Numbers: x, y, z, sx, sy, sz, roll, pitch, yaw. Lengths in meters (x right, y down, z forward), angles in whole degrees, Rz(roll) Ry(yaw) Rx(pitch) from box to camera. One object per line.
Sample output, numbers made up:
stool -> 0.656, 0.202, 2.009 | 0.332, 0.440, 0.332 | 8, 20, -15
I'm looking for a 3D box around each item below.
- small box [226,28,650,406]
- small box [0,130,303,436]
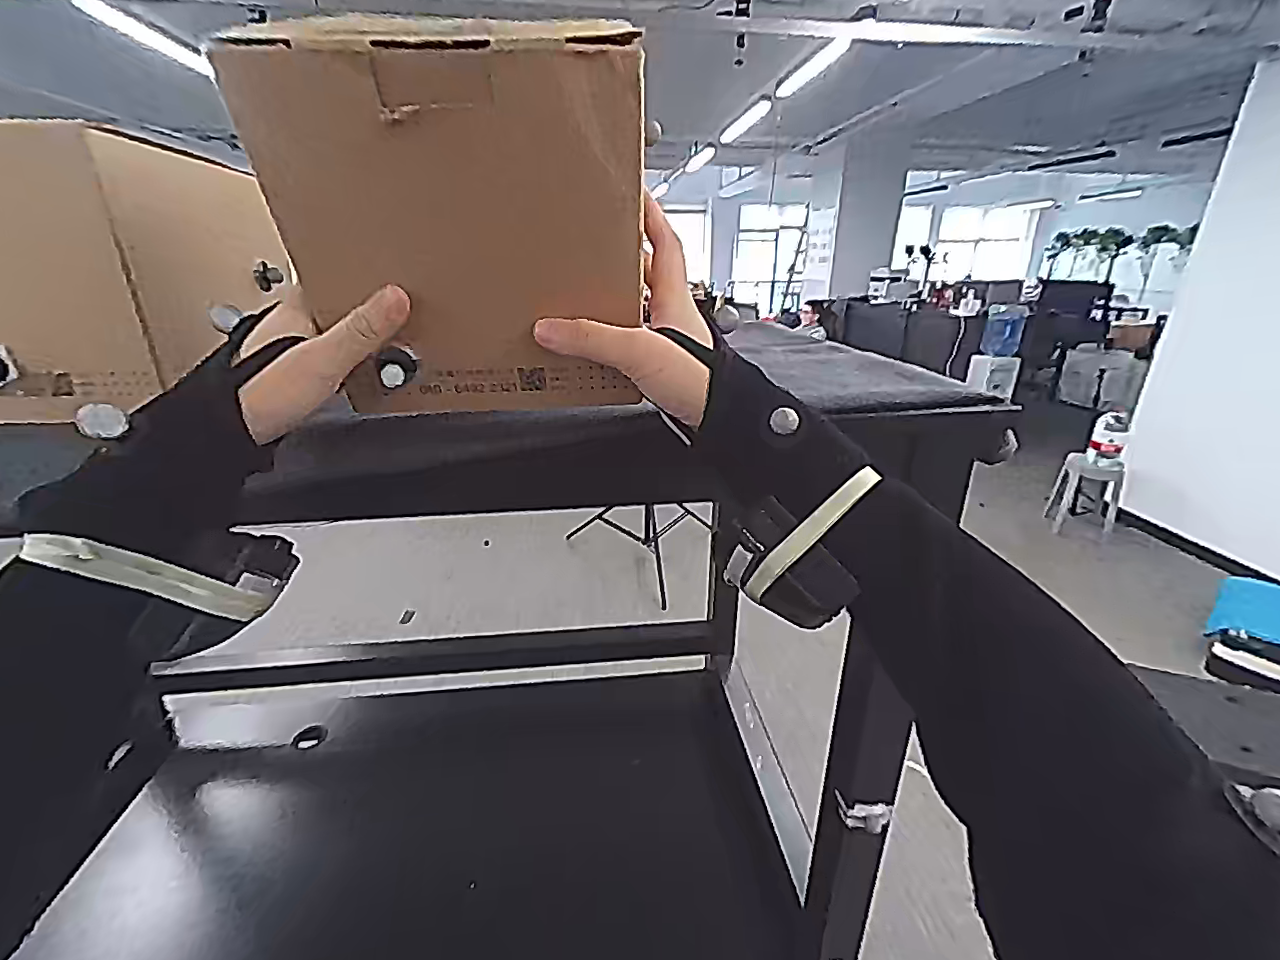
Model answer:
small box -> -0.081, -0.154, 0.321 | 0.168, 0.176, 0.179 | -2, 41, -3
small box -> -0.374, -0.133, 0.388 | 0.168, 0.176, 0.179 | -2, 21, -3
